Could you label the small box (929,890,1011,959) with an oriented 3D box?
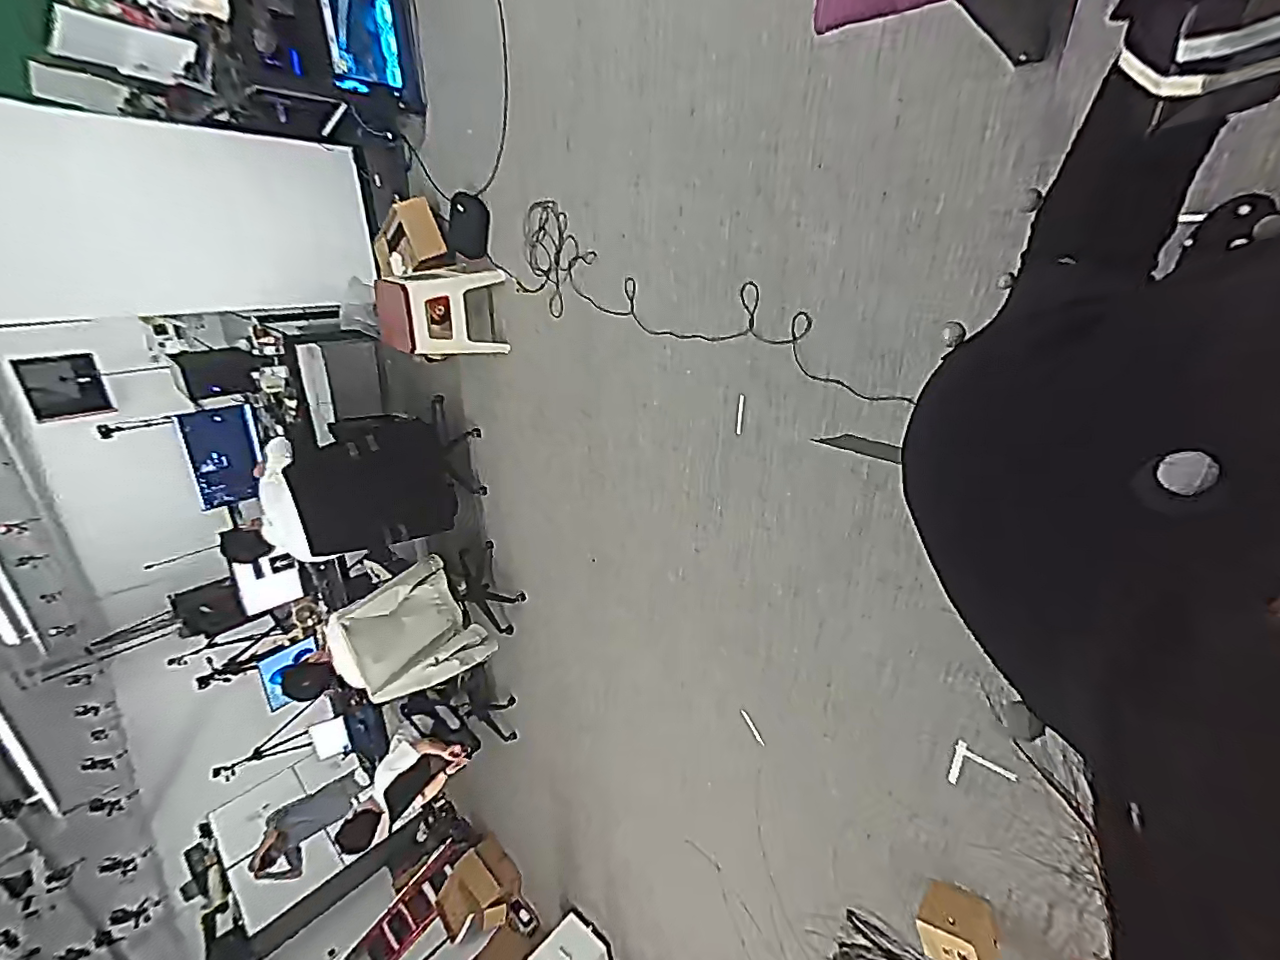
[{"bbox_3d":[1.051,1.459,1.714,0.179,0.176,0.168,-11,98,49],"label":"small box"}]
